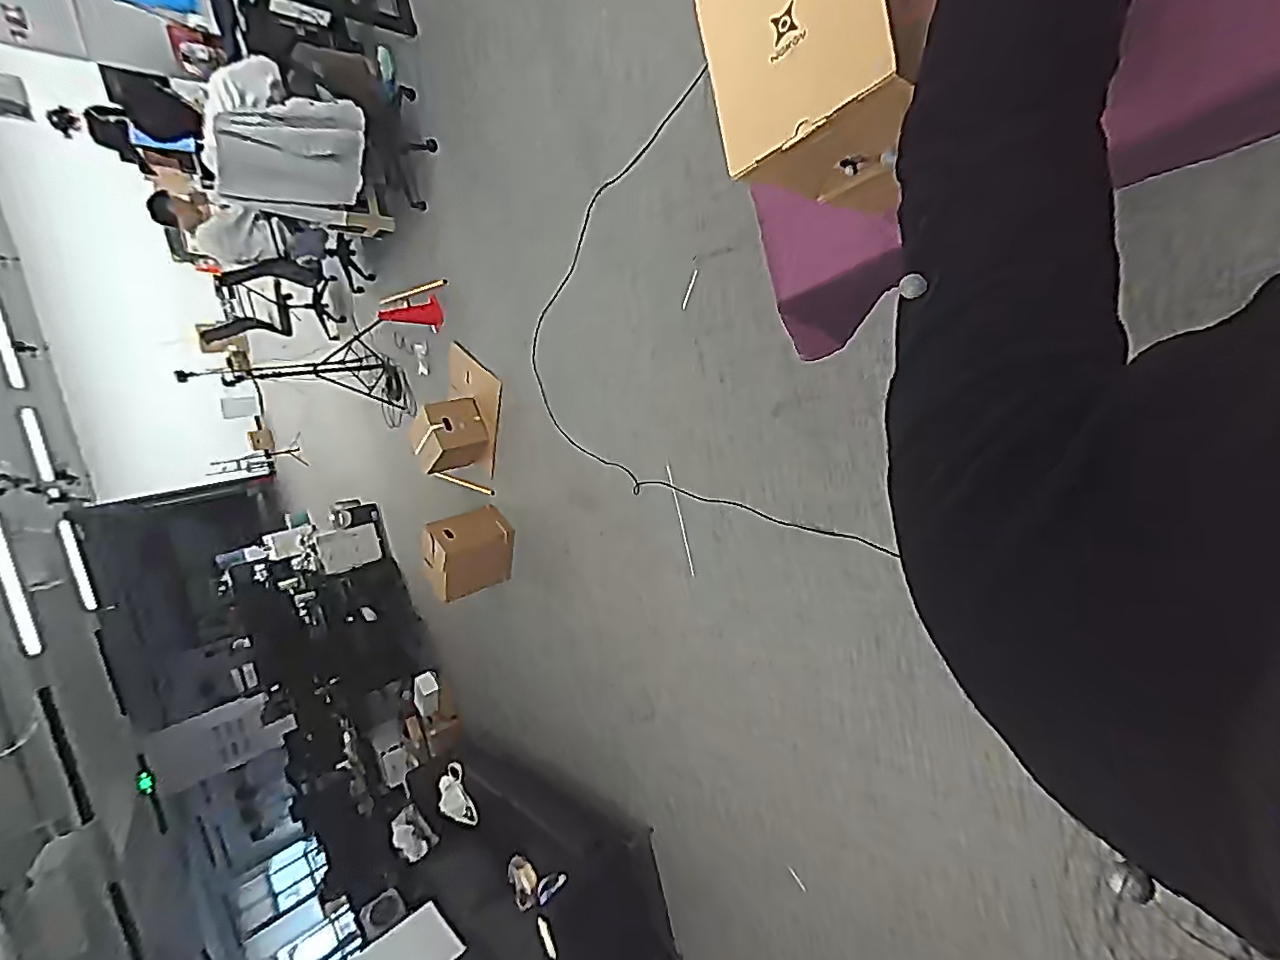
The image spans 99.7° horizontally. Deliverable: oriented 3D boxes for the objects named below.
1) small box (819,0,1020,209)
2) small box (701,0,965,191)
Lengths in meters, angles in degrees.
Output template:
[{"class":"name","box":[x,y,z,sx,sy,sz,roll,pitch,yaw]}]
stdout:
[{"class":"small box","box":[0.313,-0.438,0.625,0.179,0.176,0.168,-8,96,50]},{"class":"small box","box":[0.188,-0.409,0.524,0.168,0.176,0.179,-7,99,50]}]
